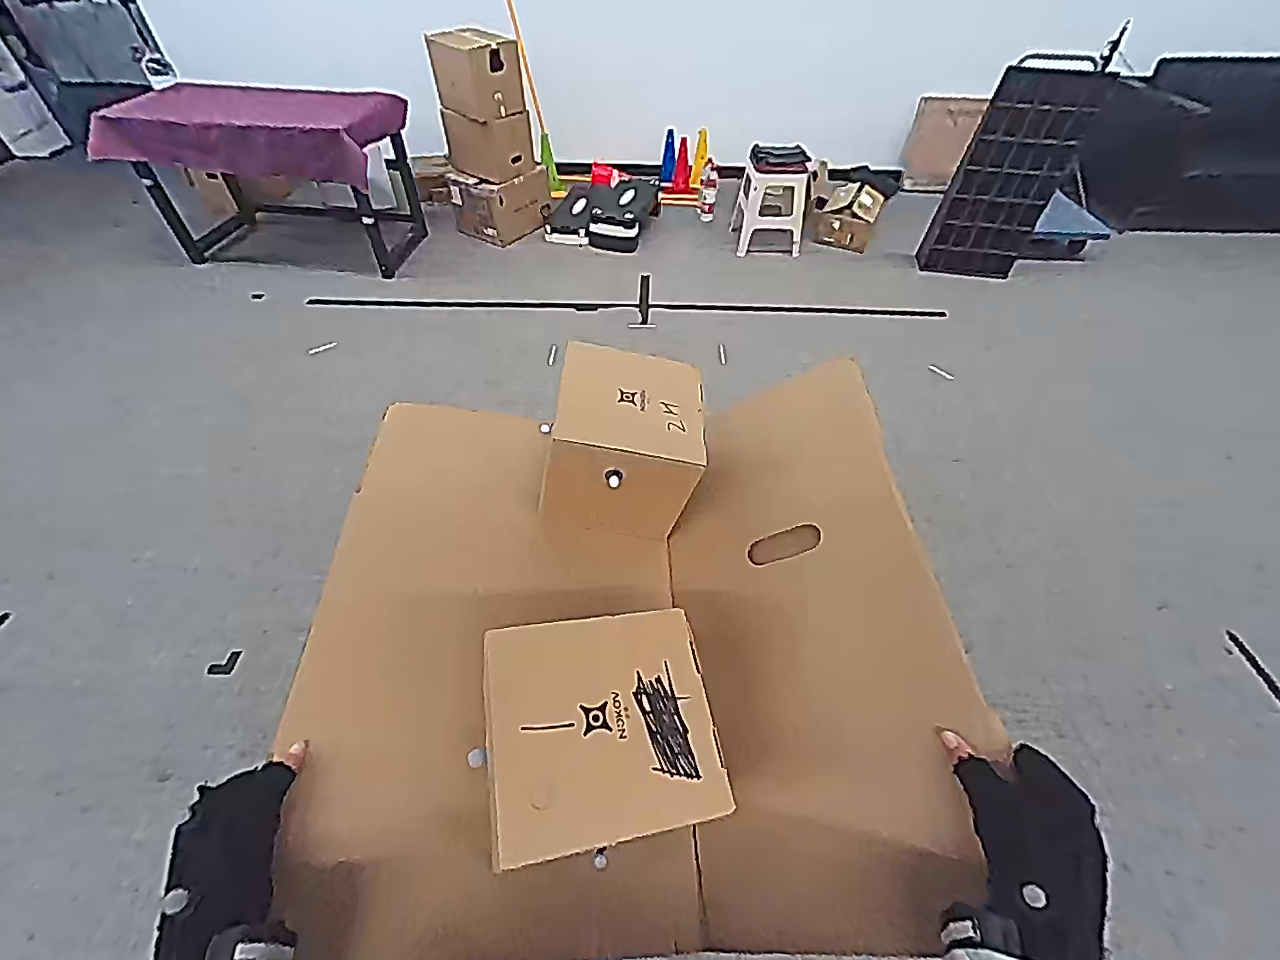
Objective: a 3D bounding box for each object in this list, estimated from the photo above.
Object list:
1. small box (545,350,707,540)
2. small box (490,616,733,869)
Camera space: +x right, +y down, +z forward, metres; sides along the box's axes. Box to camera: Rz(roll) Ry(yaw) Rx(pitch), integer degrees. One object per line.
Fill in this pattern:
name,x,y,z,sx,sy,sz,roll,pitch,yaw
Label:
small box,-0.022,-0.038,0.709,0.179,0.176,0.168,11,52,-10
small box,-0.043,0.239,0.497,0.179,0.176,0.168,-2,55,-17
